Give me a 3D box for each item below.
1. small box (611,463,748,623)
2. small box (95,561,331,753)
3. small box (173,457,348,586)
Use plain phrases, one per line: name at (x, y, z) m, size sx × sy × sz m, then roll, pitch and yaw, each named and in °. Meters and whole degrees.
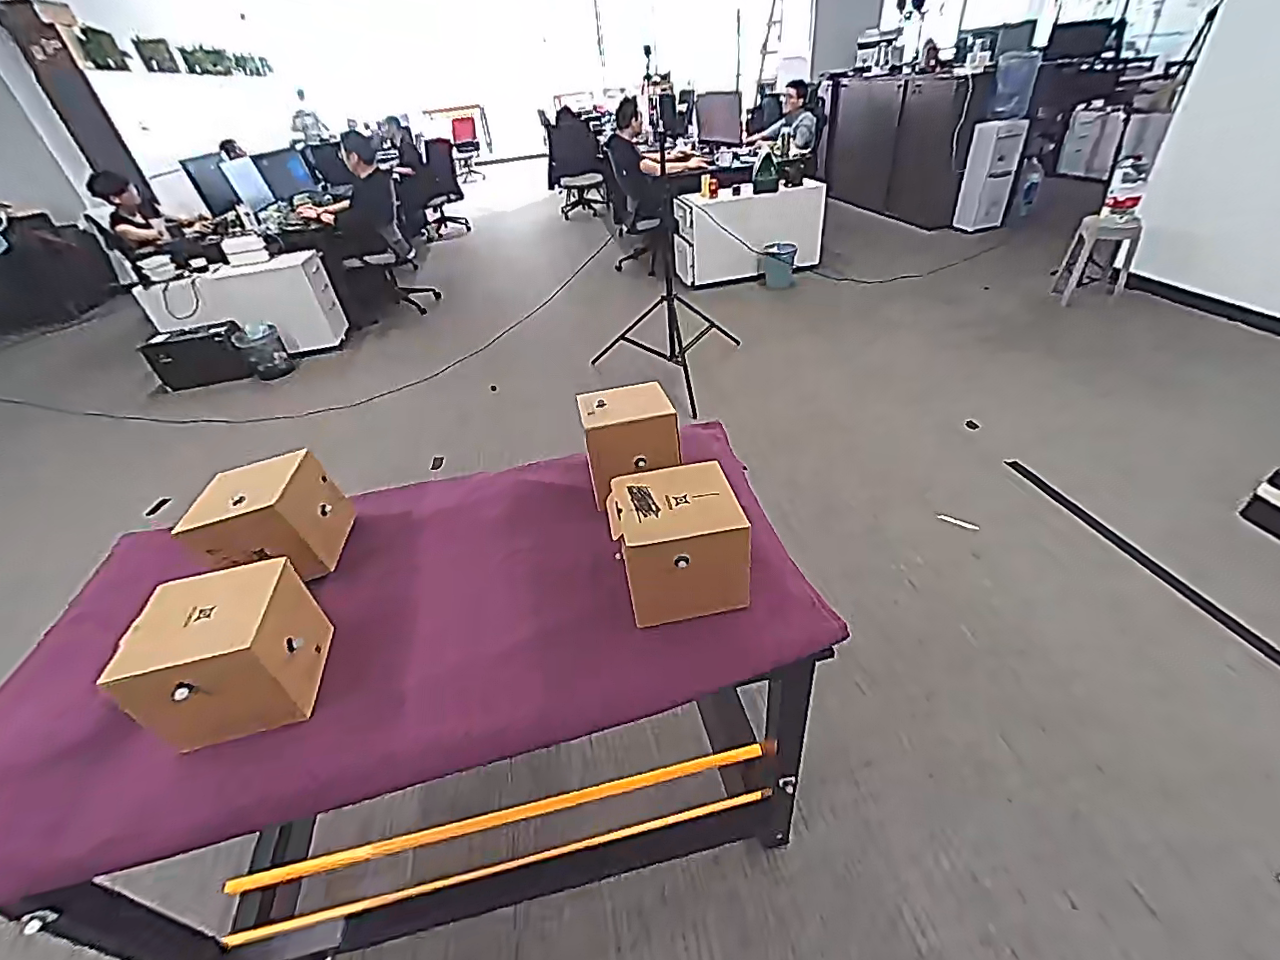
small box at (0.060, 0.098, 0.835) m, size 0.179 × 0.176 × 0.168 m, roll -10°, pitch 36°, yaw -4°
small box at (-0.564, 0.244, 0.752) m, size 0.179 × 0.176 × 0.168 m, roll -13°, pitch 37°, yaw -8°
small box at (-0.647, 0.081, 0.957) m, size 0.179 × 0.168 × 0.176 m, roll -16°, pitch 36°, yaw 0°
